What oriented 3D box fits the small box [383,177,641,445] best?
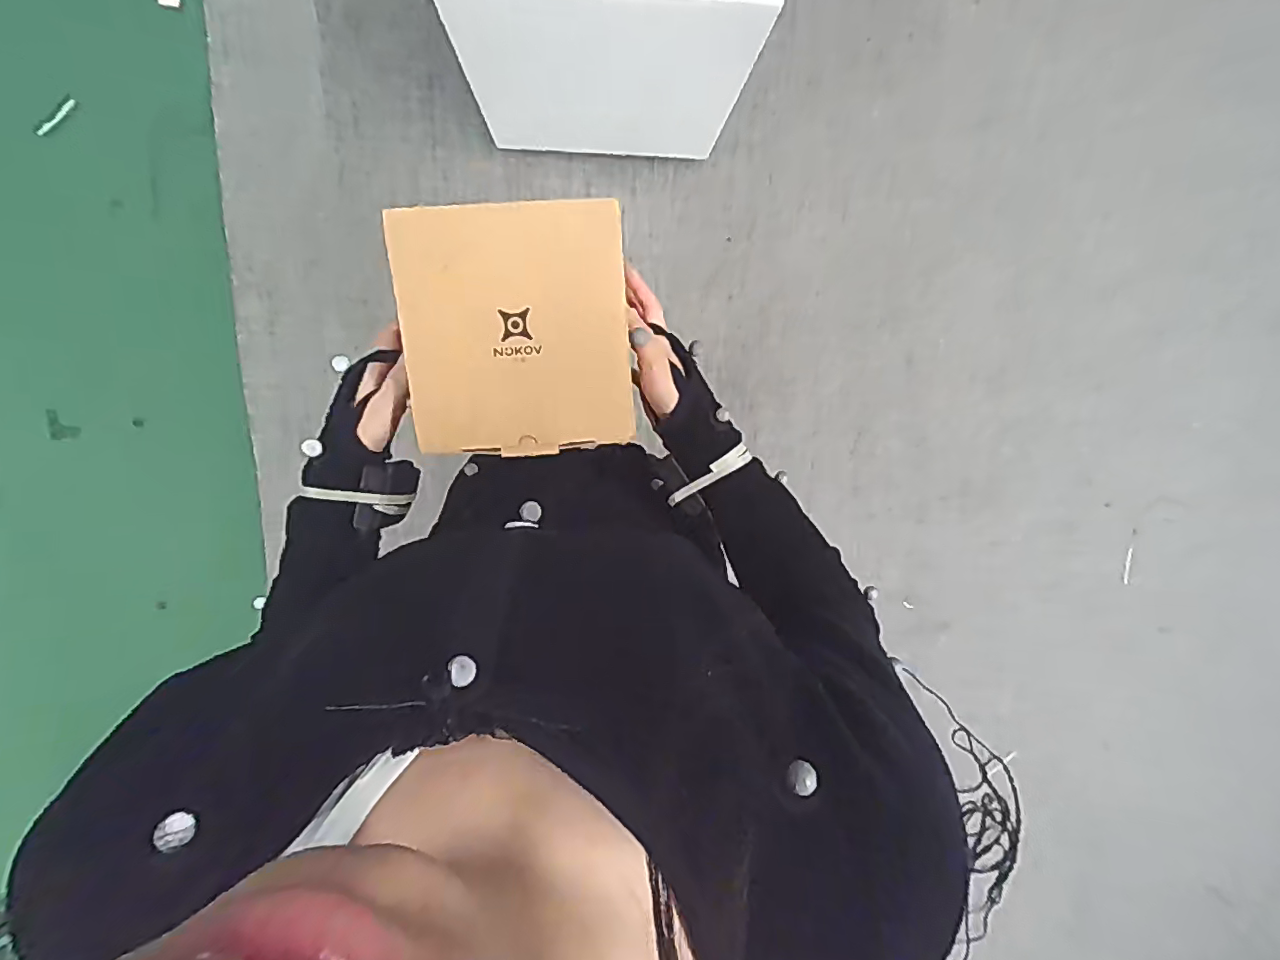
[{"bbox_3d":[-0.090,-0.133,0.459,0.168,0.176,0.179,-5,104,-2],"label":"small box"}]
